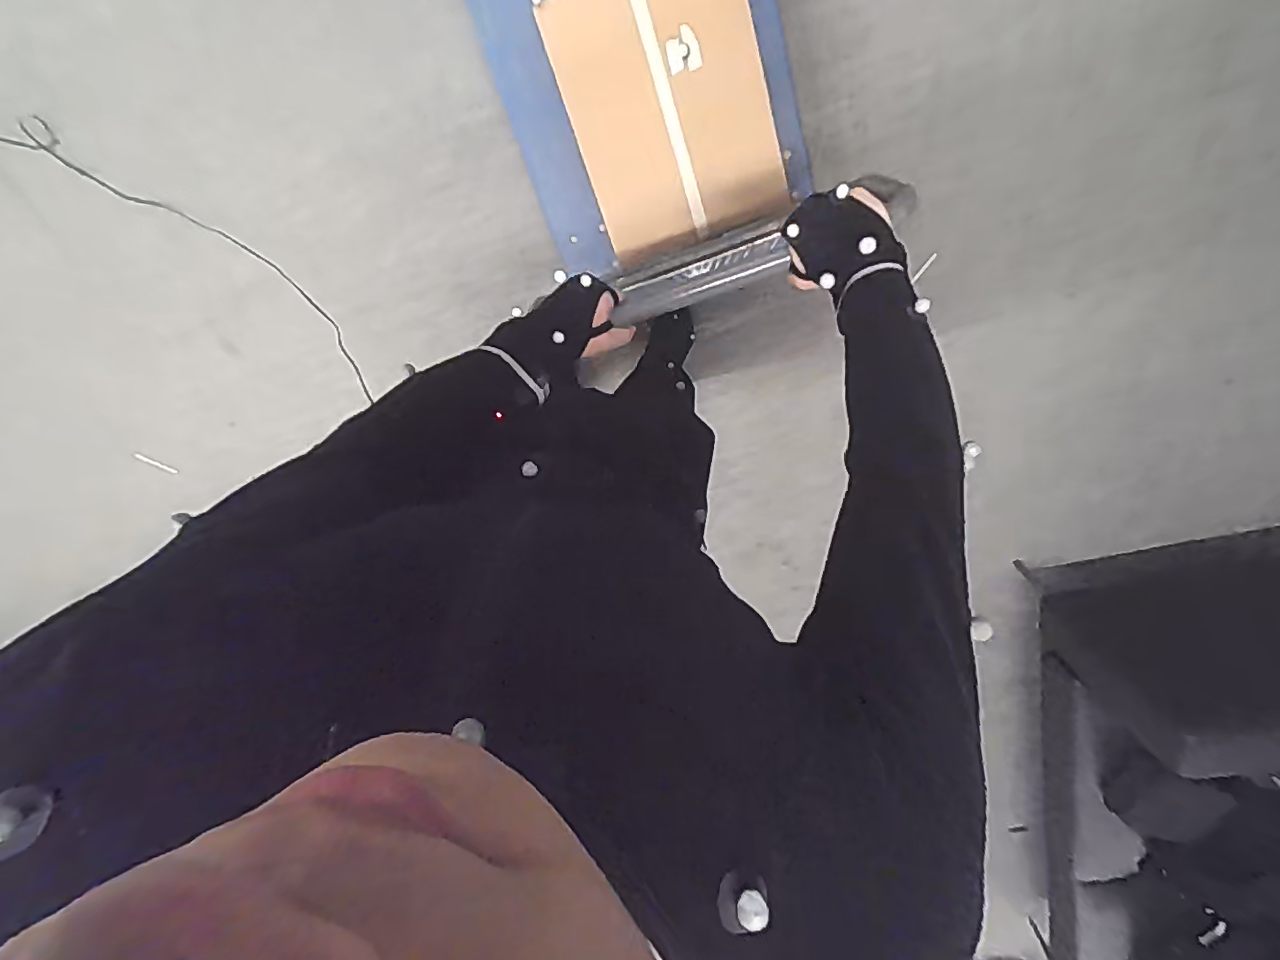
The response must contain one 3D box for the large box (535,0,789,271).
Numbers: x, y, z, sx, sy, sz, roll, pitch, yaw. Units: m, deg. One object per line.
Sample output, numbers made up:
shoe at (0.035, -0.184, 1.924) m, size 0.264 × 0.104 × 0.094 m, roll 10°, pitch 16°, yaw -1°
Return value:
large box at (0.058, -0.652, 1.015) m, size 0.320 × 0.320 × 0.408 m, roll -17°, pitch 112°, yaw 11°
